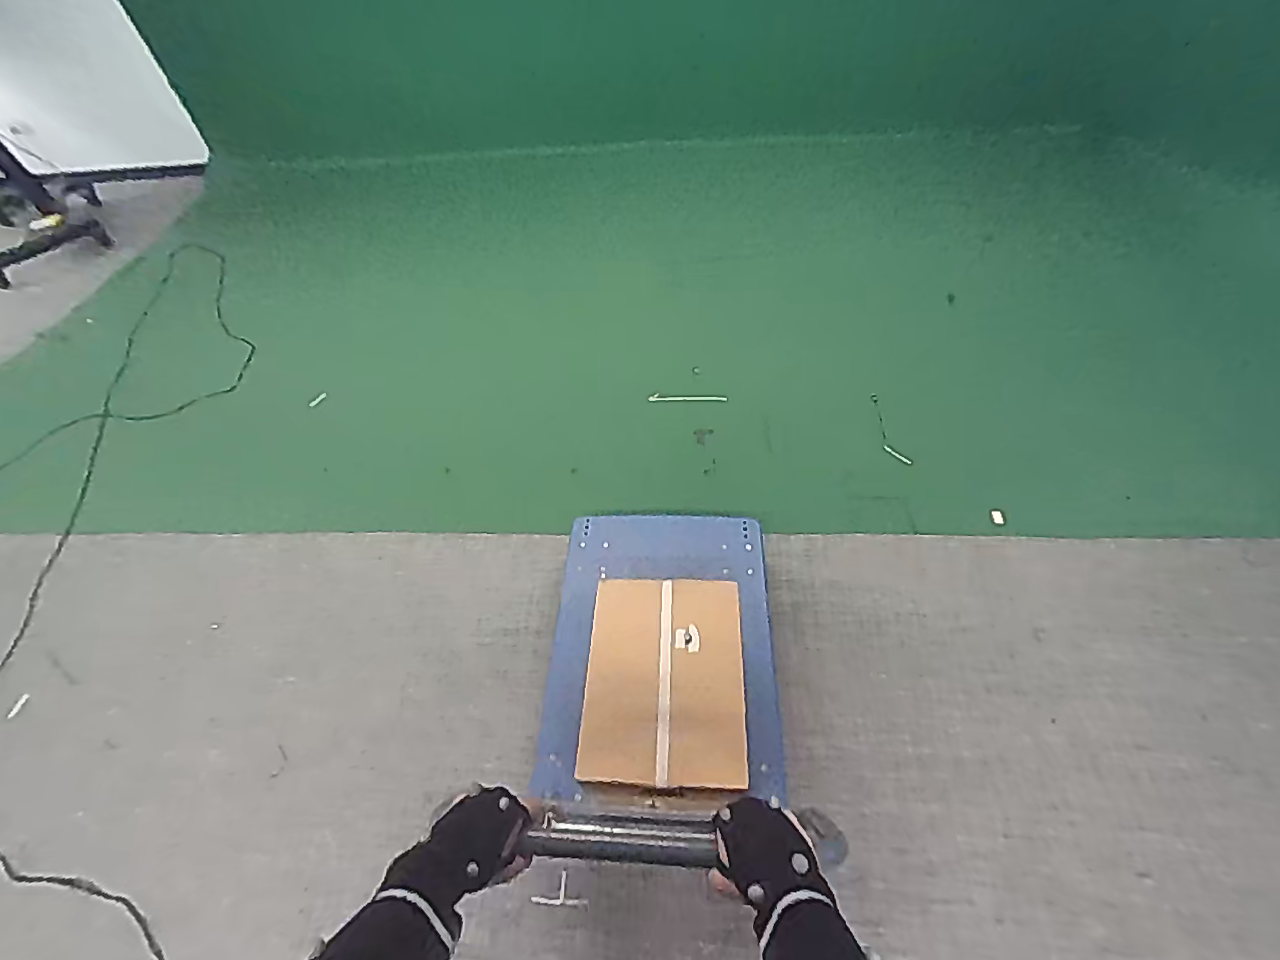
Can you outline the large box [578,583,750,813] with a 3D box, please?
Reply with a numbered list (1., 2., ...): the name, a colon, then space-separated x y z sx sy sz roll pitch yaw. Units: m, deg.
1. large box: 0.059 0.483 1.199 0.320 0.320 0.408 1 51 4
